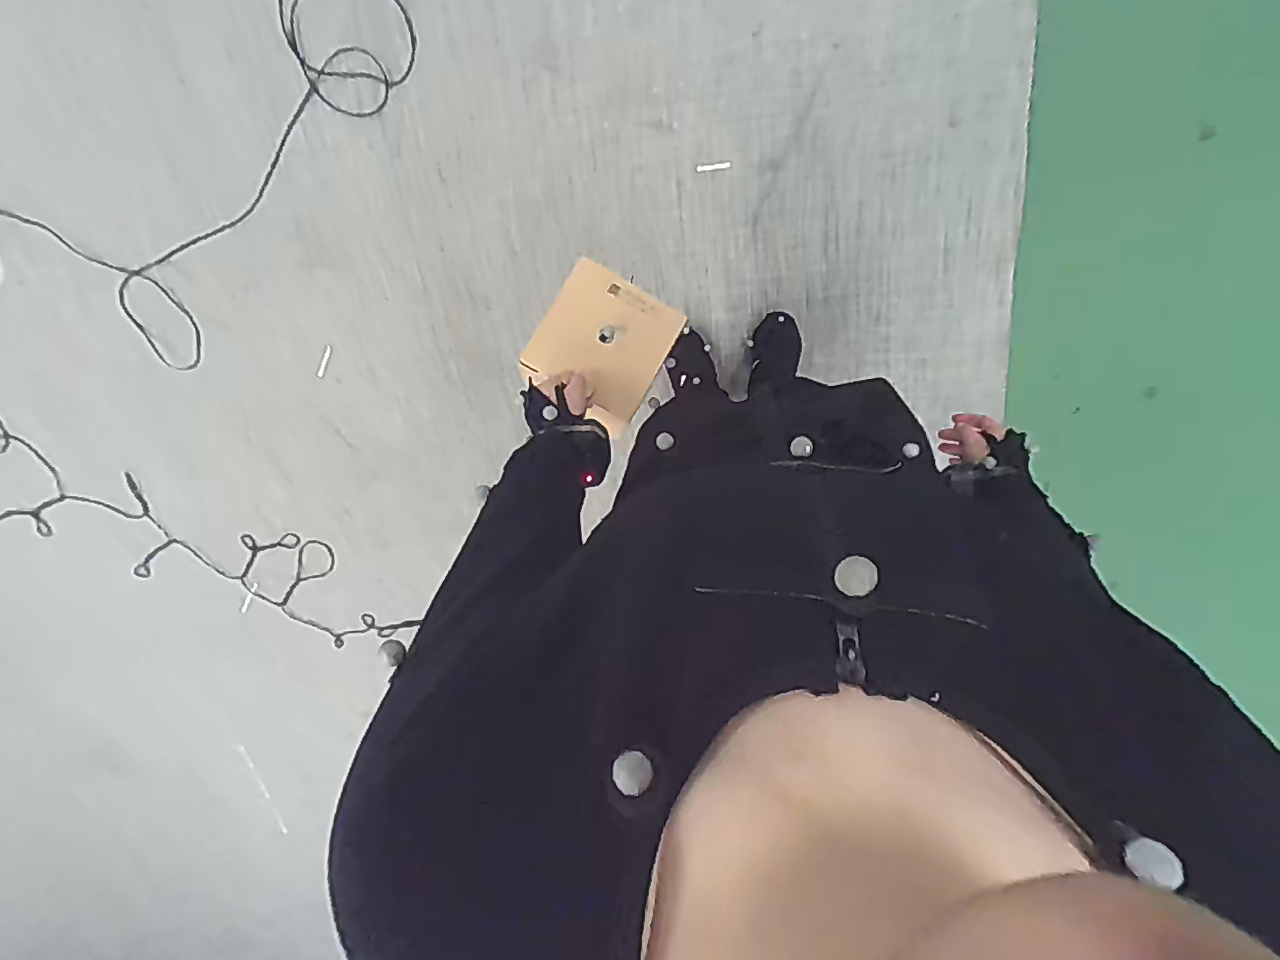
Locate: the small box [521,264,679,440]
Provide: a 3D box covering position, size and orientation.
[{"bbox_3d":[-0.058,-0.180,0.792,0.168,0.179,0.176,28,82,-5],"label":"small box"}]
